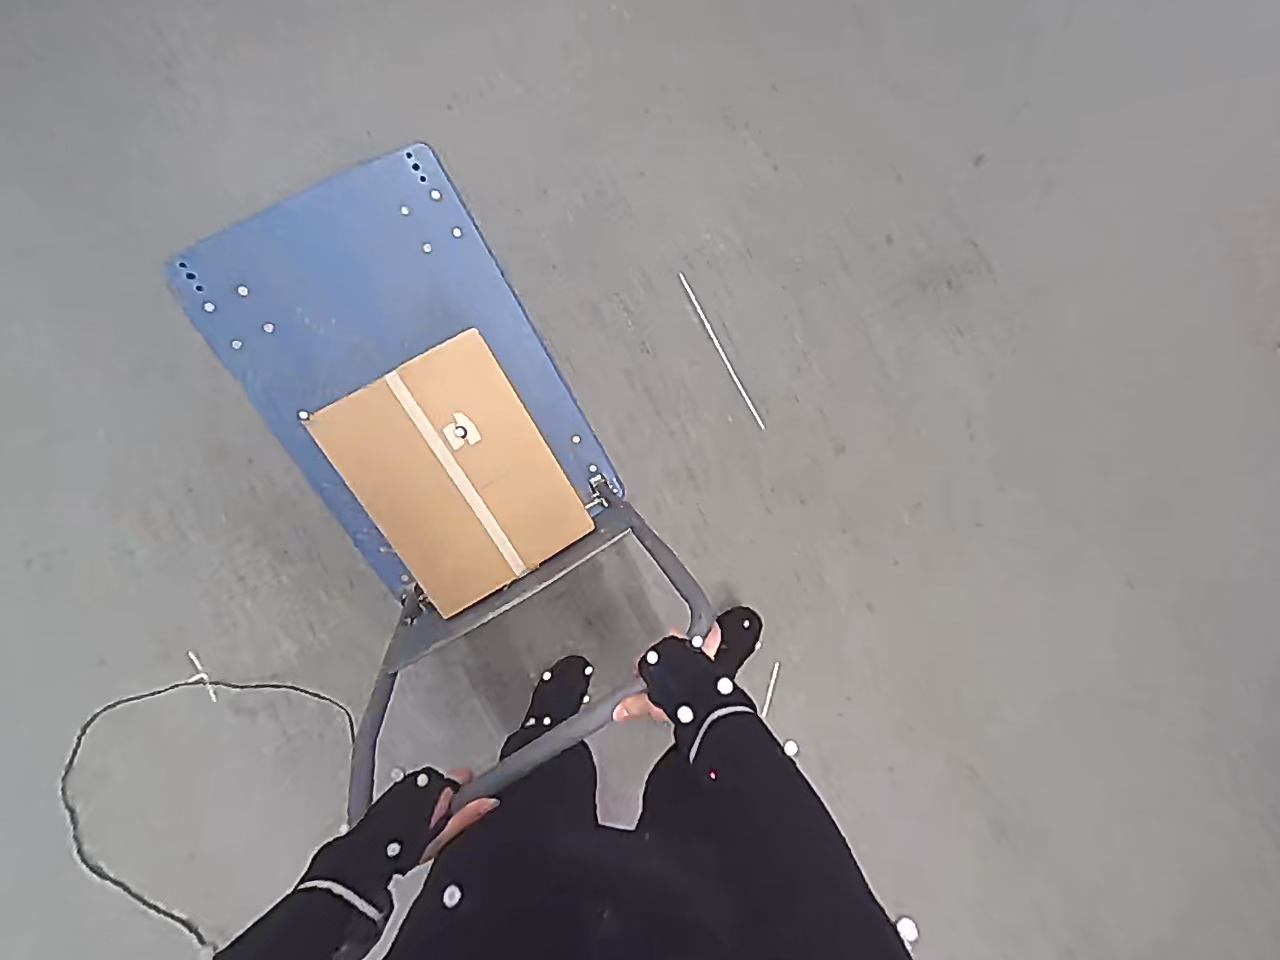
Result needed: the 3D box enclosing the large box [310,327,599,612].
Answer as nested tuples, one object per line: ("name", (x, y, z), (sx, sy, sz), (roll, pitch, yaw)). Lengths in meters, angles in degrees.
("large box", (-0.327, -0.029, 1.056), (0.320, 0.320, 0.408), (-32, 103, -7))
